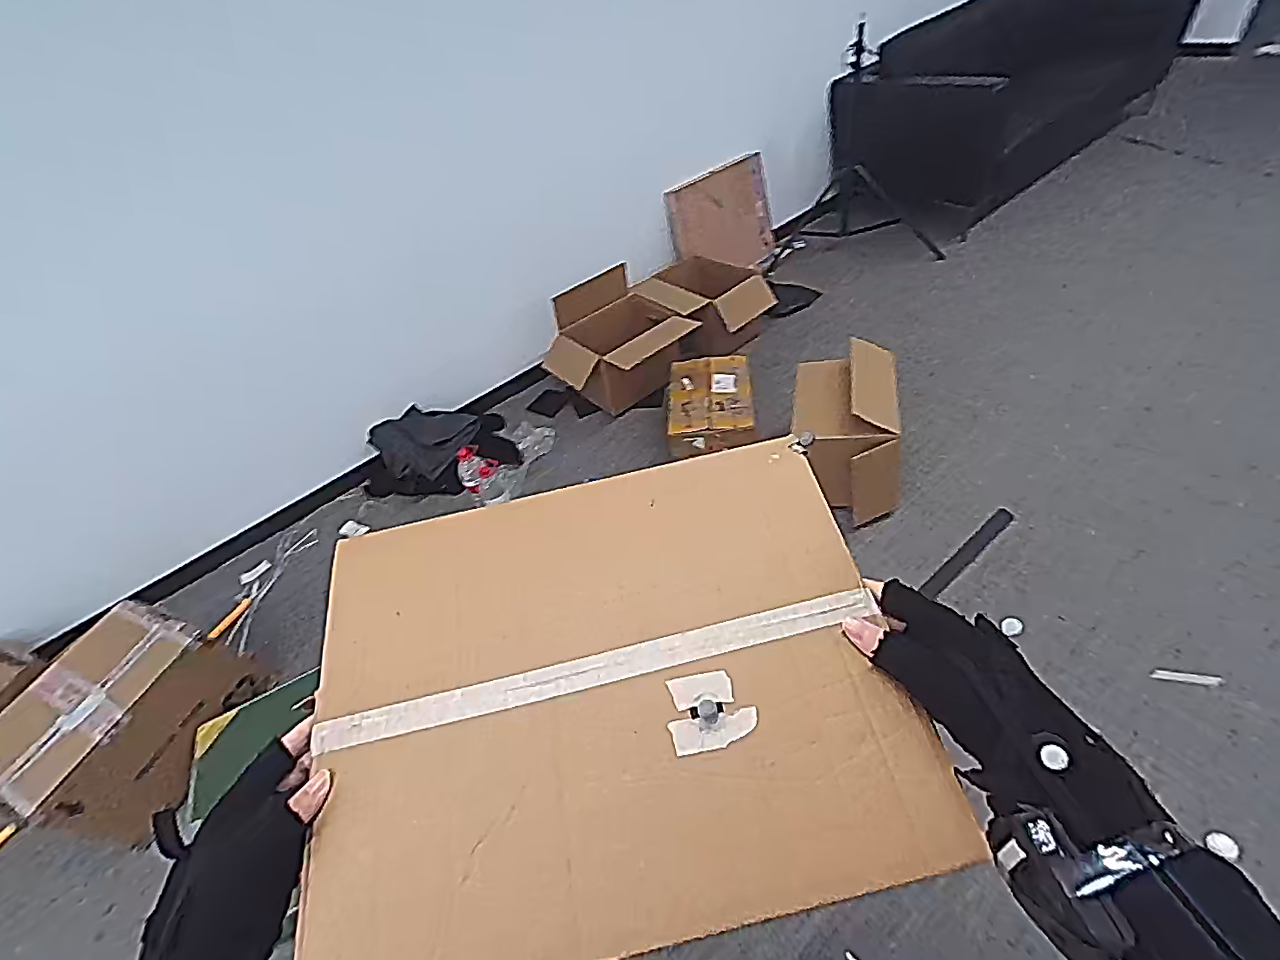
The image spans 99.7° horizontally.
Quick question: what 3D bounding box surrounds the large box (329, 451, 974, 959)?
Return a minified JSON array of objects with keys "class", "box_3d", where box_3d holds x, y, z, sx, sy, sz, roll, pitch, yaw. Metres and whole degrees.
[{"class":"large box","box_3d":[-0.008,0.222,0.522,0.408,0.320,0.320,-13,58,-2]}]
